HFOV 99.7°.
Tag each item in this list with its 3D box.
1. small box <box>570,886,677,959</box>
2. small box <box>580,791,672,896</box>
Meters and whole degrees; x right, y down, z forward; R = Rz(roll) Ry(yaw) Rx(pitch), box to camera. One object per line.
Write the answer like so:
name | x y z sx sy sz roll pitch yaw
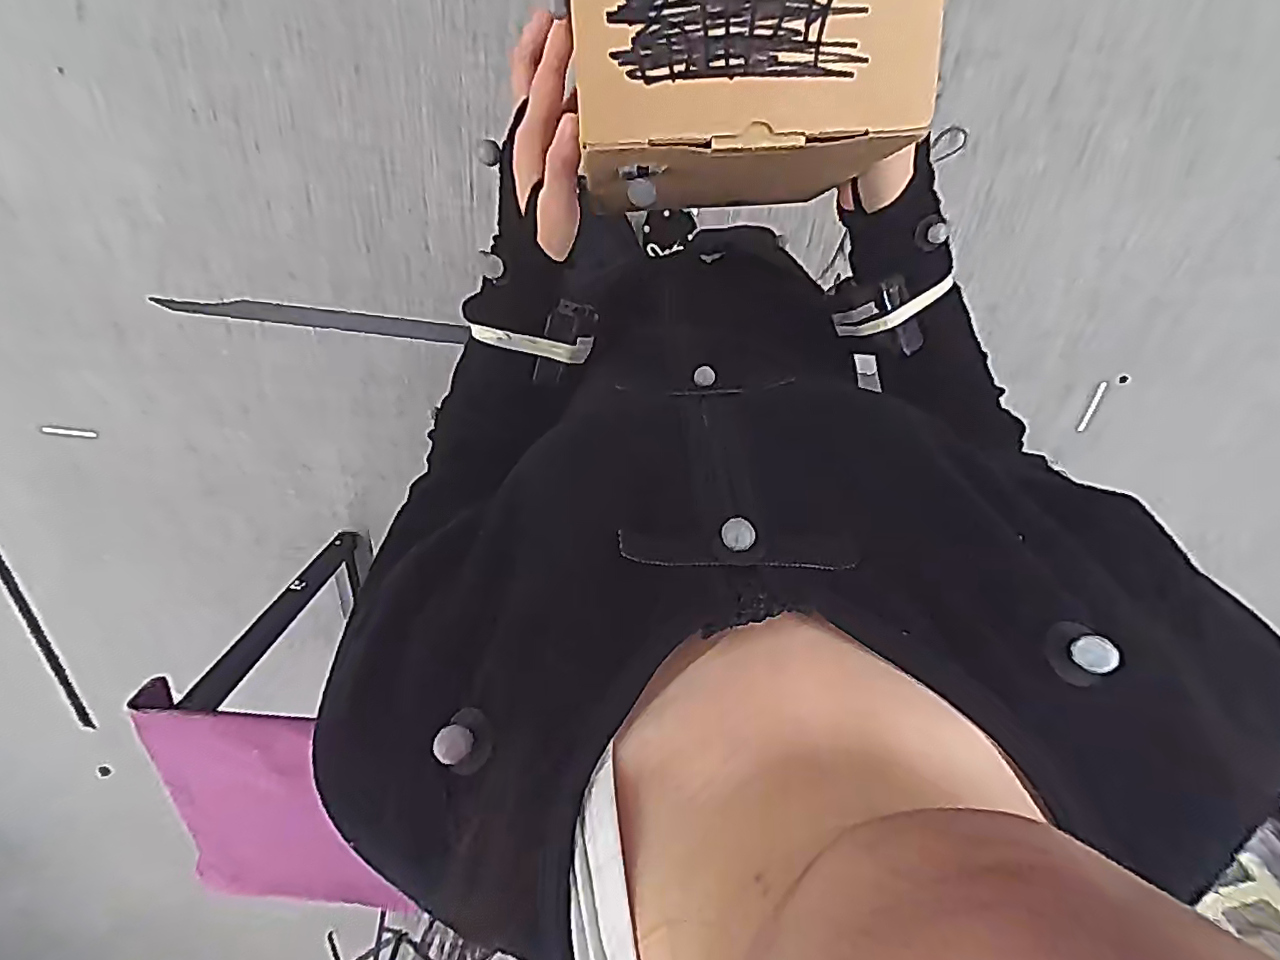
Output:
small box | -0.029 0.825 0.923 0.179 0.176 0.168 1 119 0
small box | -0.026 0.749 1.066 0.168 0.176 0.179 3 118 0
